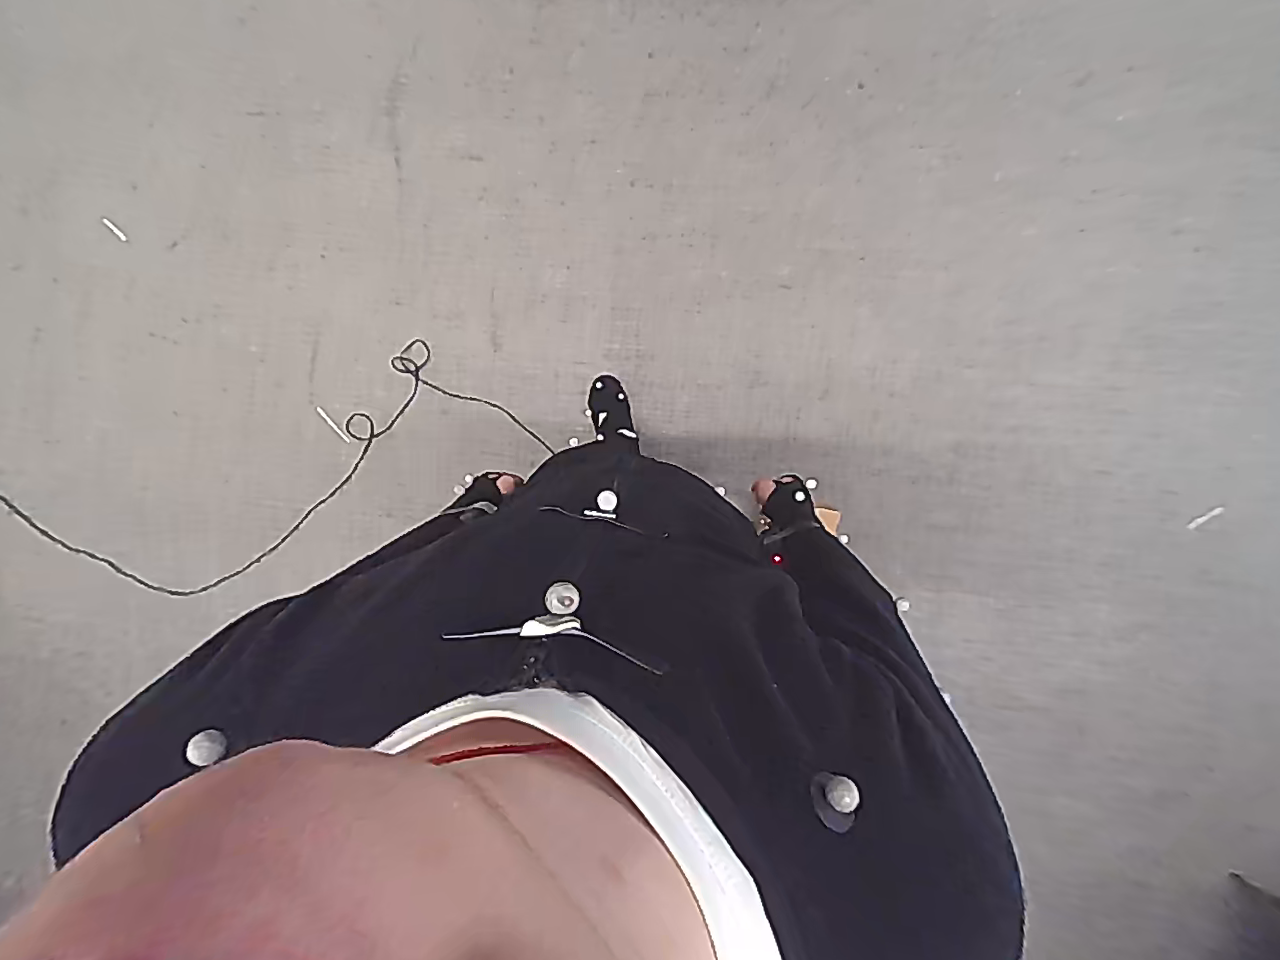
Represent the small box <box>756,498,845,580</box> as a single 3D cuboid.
[{"bbox_3d":[0.418,0.150,1.435,0.179,0.176,0.168,11,97,4],"label":"small box"}]
